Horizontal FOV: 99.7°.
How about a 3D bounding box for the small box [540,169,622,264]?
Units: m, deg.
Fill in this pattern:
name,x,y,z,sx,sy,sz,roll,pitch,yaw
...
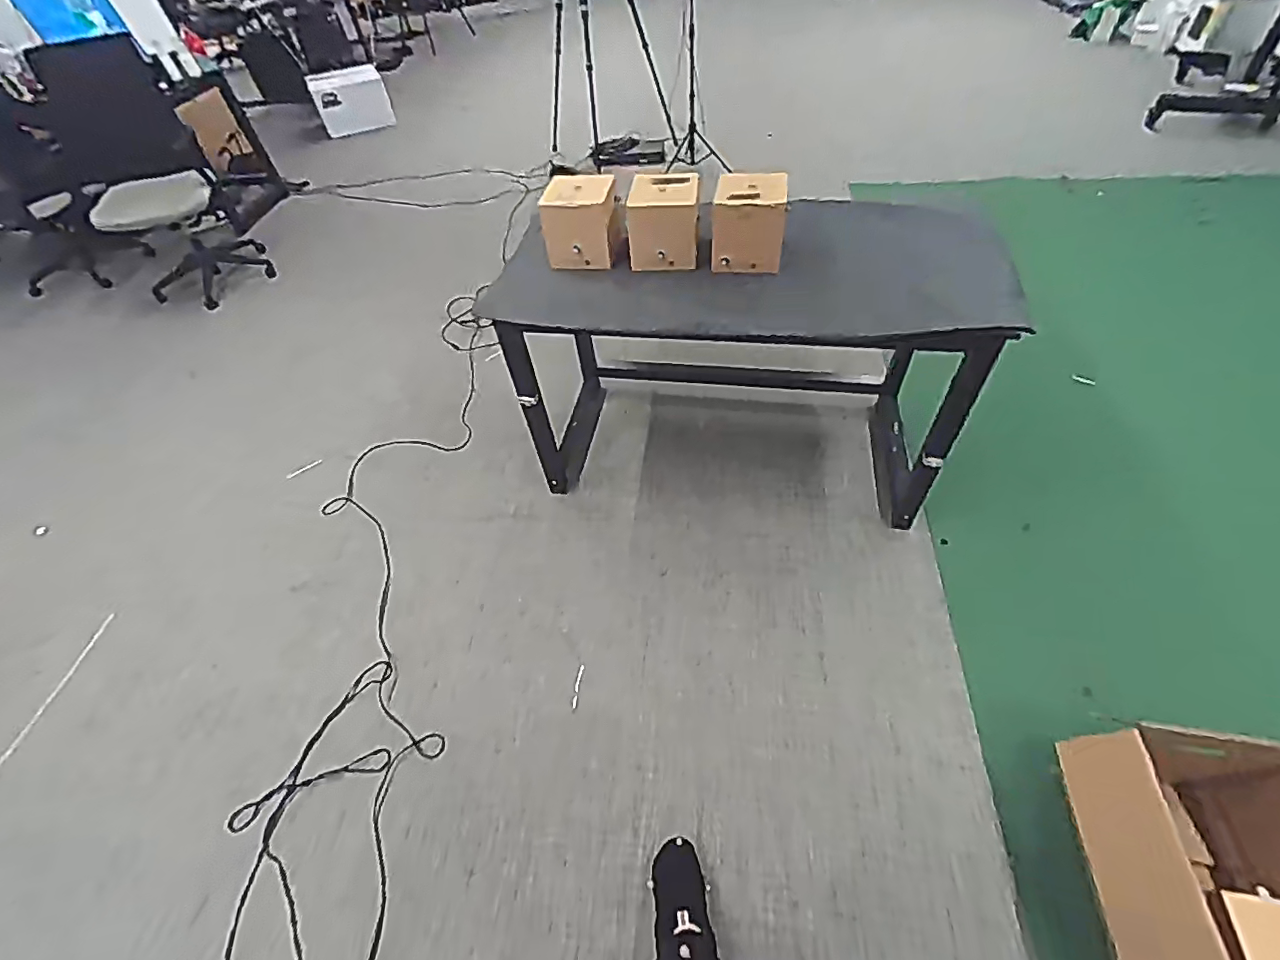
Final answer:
name,x,y,z,sx,sy,sz,roll,pitch,yaw
small box,-0.144,-0.682,1.398,0.168,0.176,0.179,4,51,9
